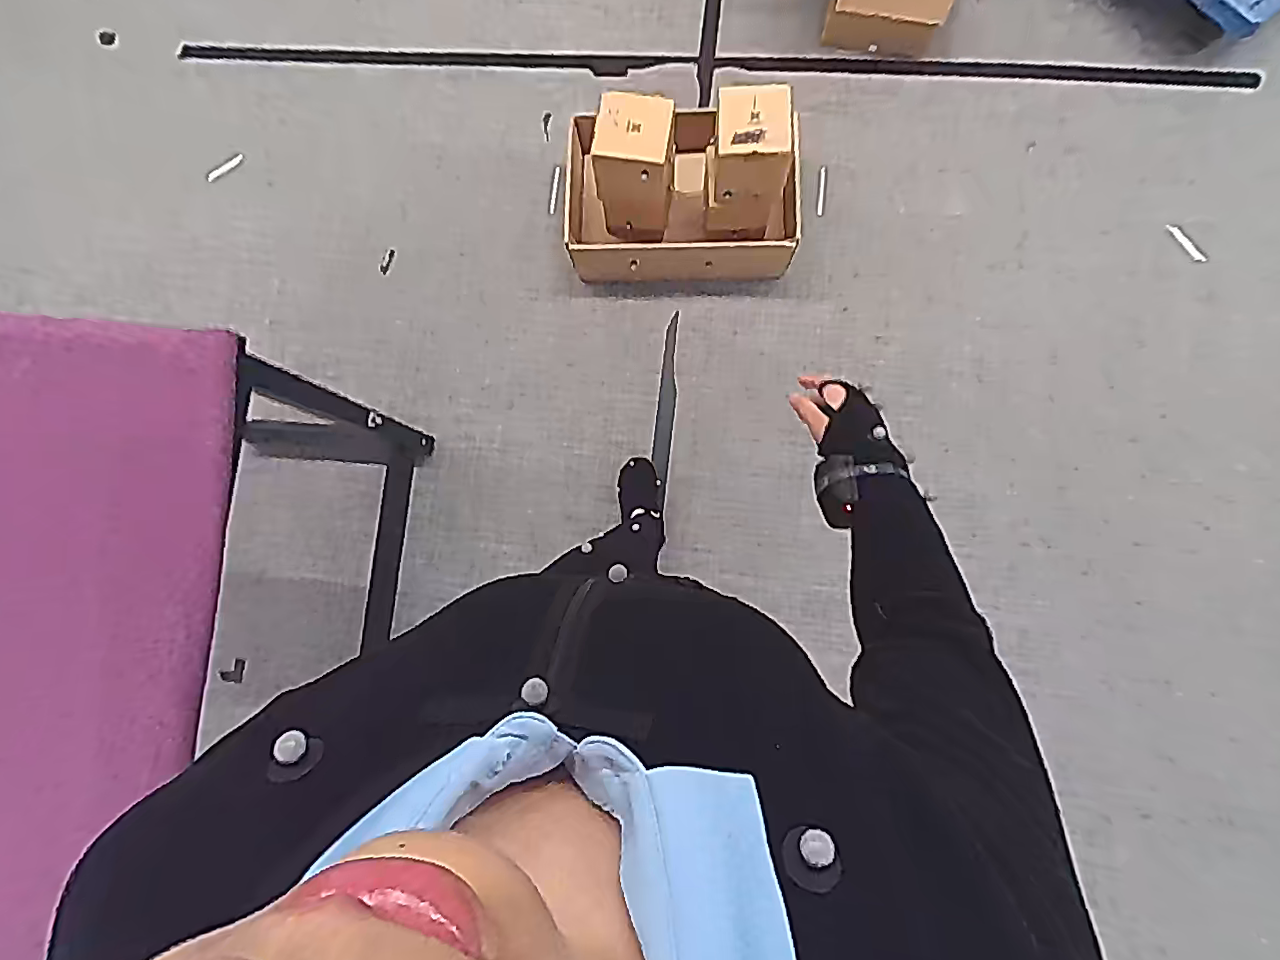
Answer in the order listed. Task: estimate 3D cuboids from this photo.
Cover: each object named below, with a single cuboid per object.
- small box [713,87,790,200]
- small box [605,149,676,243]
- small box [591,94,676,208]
[{"bbox_3d":[0.266,-0.804,1.309,0.168,0.176,0.179,1,81,4],"label":"small box"},{"bbox_3d":[0.000,-0.793,1.494,0.168,0.176,0.179,11,83,4],"label":"small box"},{"bbox_3d":[-0.013,-0.799,1.328,0.179,0.176,0.168,9,82,4],"label":"small box"}]
